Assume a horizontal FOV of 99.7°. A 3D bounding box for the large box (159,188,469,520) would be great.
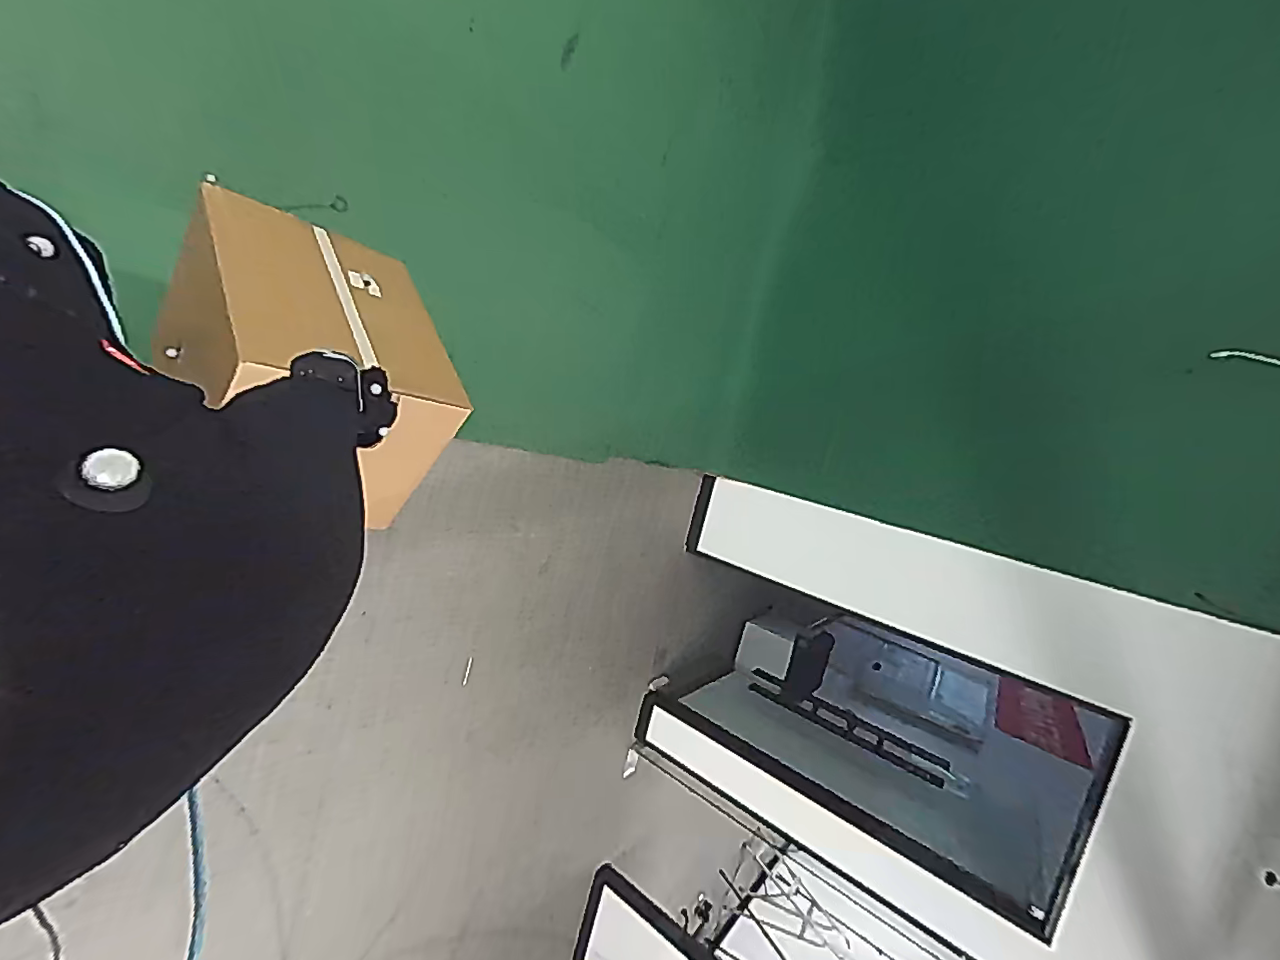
[{"bbox_3d":[-0.555,-0.180,0.901,0.320,0.408,0.320,-46,150,25],"label":"large box"}]
